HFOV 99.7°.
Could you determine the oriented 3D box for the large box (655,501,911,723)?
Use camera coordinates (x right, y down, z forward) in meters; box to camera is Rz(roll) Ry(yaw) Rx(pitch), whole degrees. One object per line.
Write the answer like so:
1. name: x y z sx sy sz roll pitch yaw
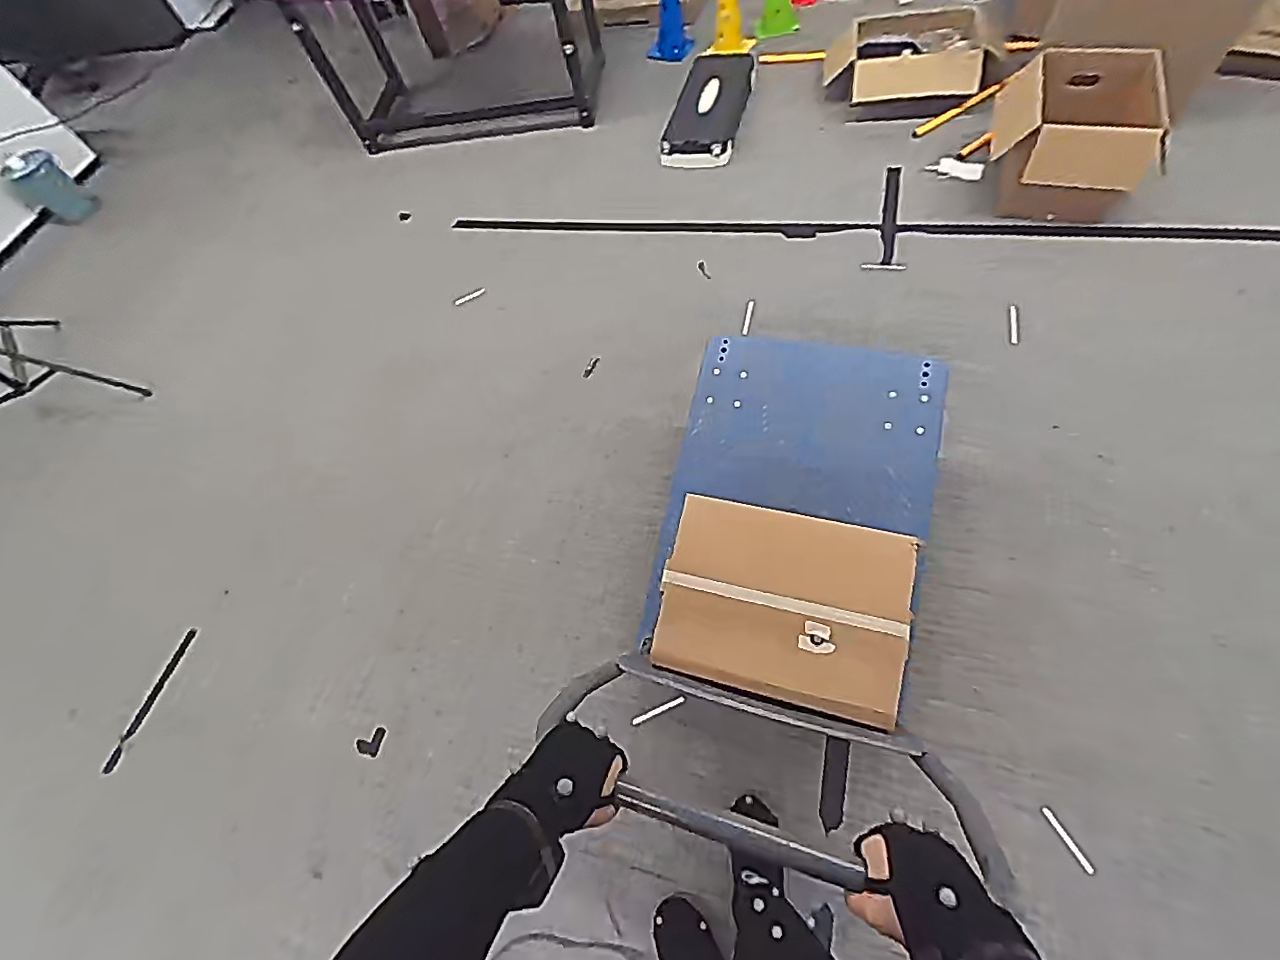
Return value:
1. large box: 0.272 0.253 1.081 0.408 0.320 0.320 10 78 14
